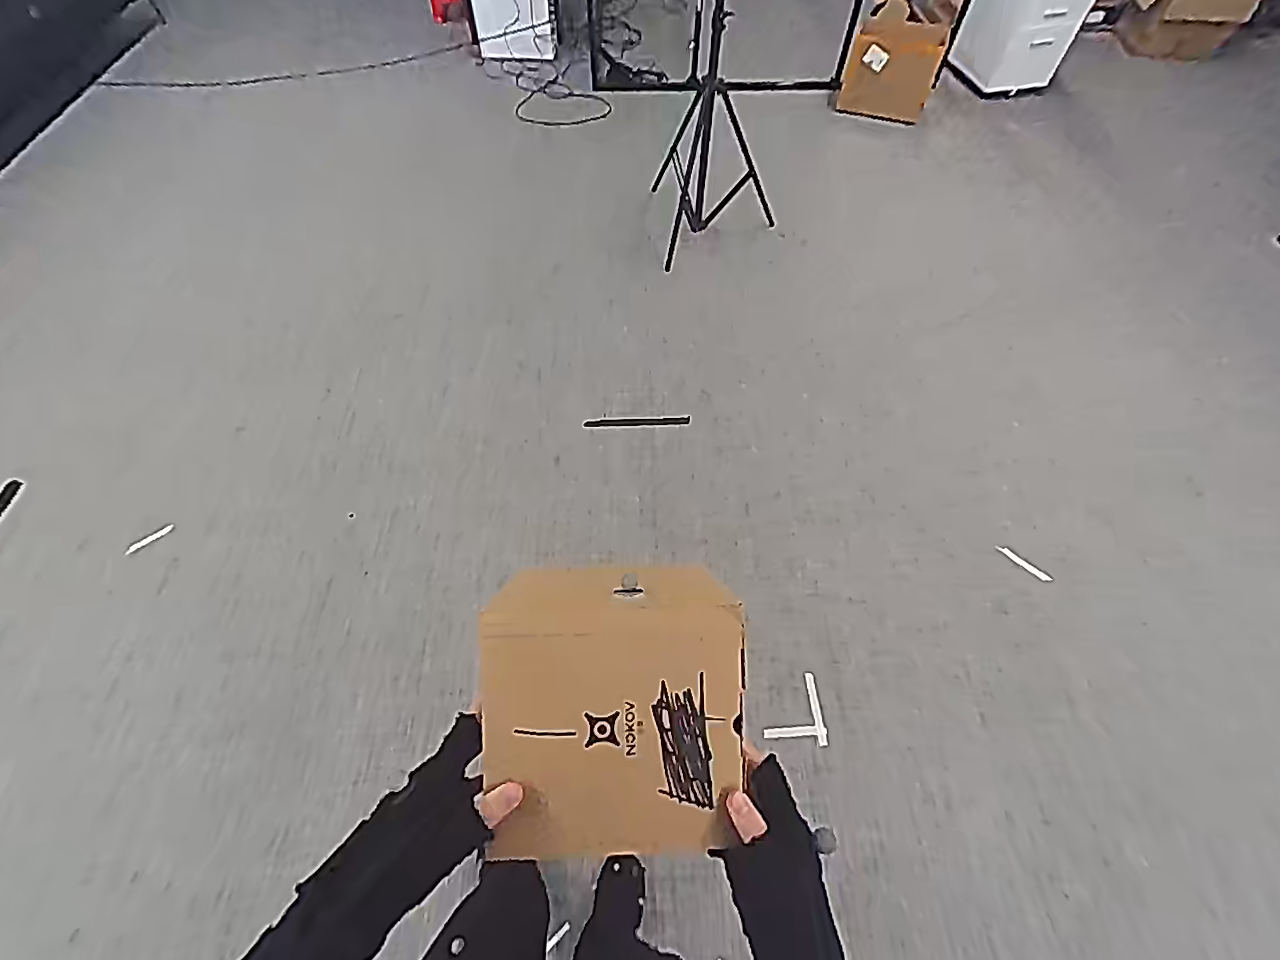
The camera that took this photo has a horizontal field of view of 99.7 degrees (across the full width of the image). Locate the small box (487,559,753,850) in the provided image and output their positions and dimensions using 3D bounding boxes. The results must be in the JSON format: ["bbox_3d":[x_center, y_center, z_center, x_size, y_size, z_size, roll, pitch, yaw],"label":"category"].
[{"bbox_3d":[-0.016,0.158,0.435,0.179,0.176,0.168,-1,90,-2],"label":"small box"}]
